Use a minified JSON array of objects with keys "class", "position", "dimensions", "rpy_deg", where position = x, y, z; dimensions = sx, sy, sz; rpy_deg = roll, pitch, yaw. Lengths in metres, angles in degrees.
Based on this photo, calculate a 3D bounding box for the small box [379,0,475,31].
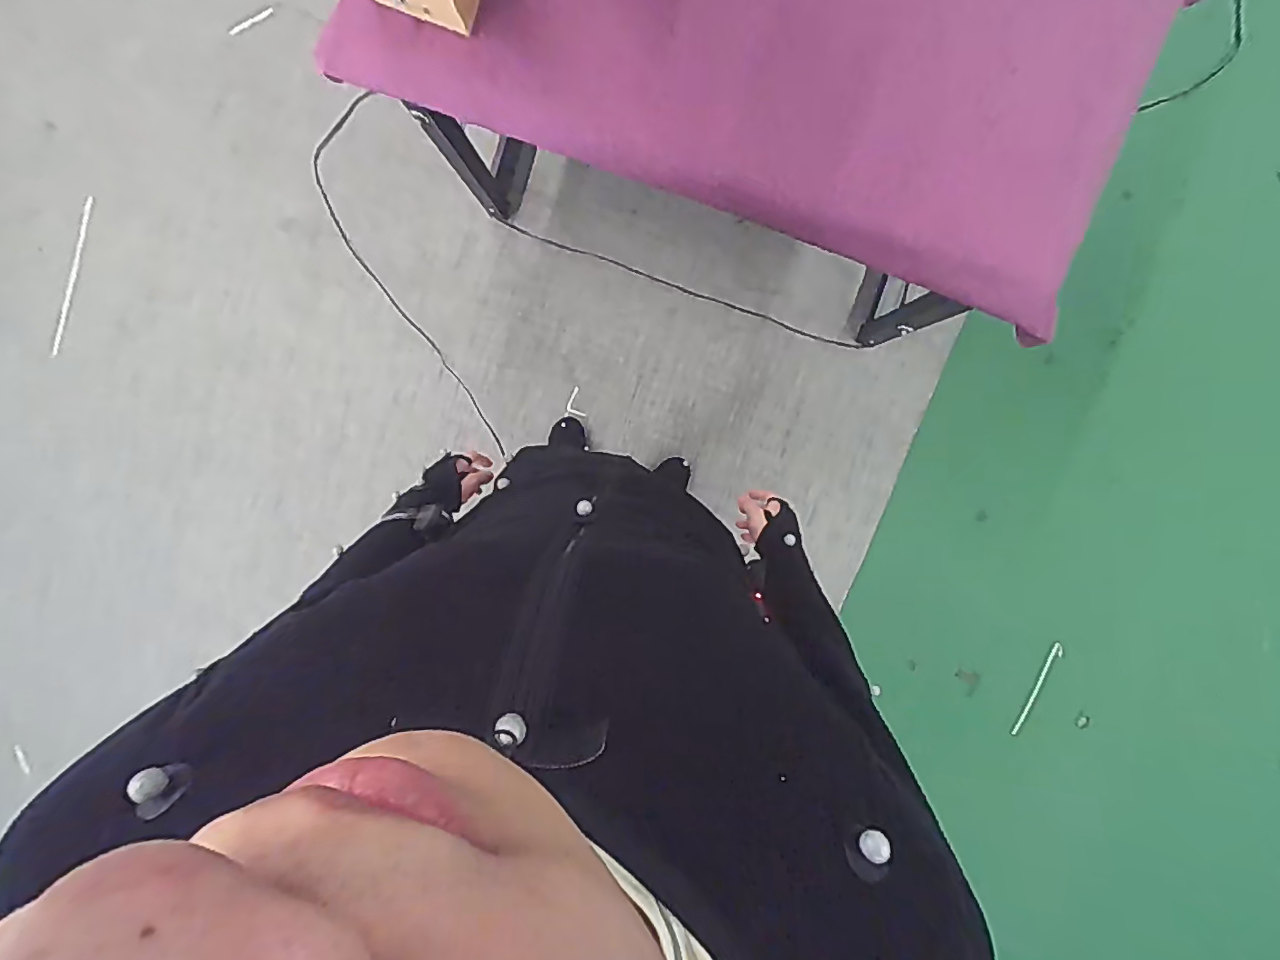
[{"class":"small box","position":[-0.317,-0.790,0.746],"dimensions":[0.168,0.176,0.179],"rpy_deg":[20,95,-1]}]
